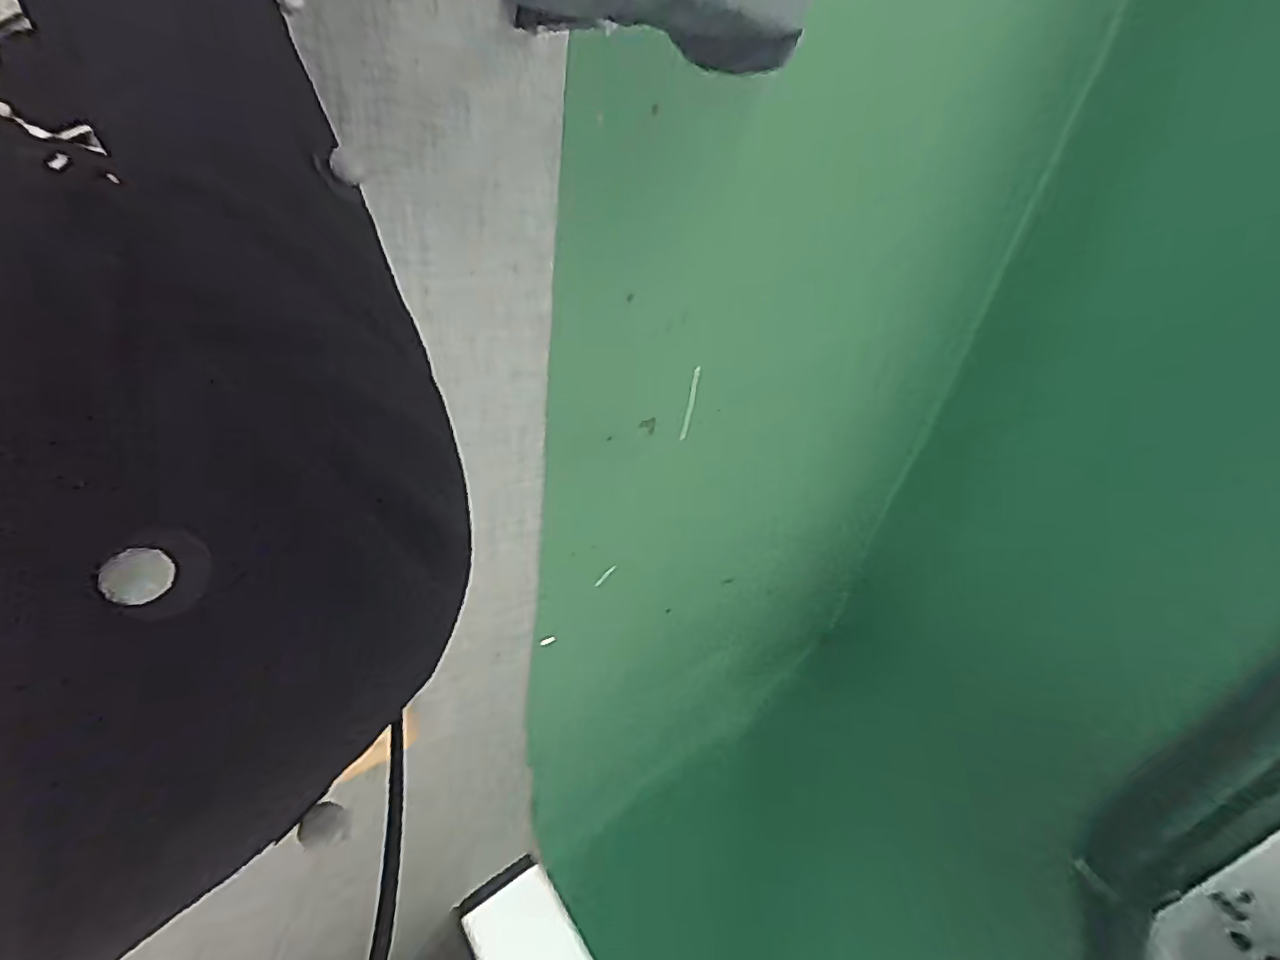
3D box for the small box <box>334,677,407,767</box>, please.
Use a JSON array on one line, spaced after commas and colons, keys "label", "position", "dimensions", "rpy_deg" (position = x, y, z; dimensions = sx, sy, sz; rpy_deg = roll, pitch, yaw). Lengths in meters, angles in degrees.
[{"label": "small box", "position": [-0.887, 0.792, 1.781], "dimensions": [0.168, 0.176, 0.179], "rpy_deg": [-19, 131, -35]}]
